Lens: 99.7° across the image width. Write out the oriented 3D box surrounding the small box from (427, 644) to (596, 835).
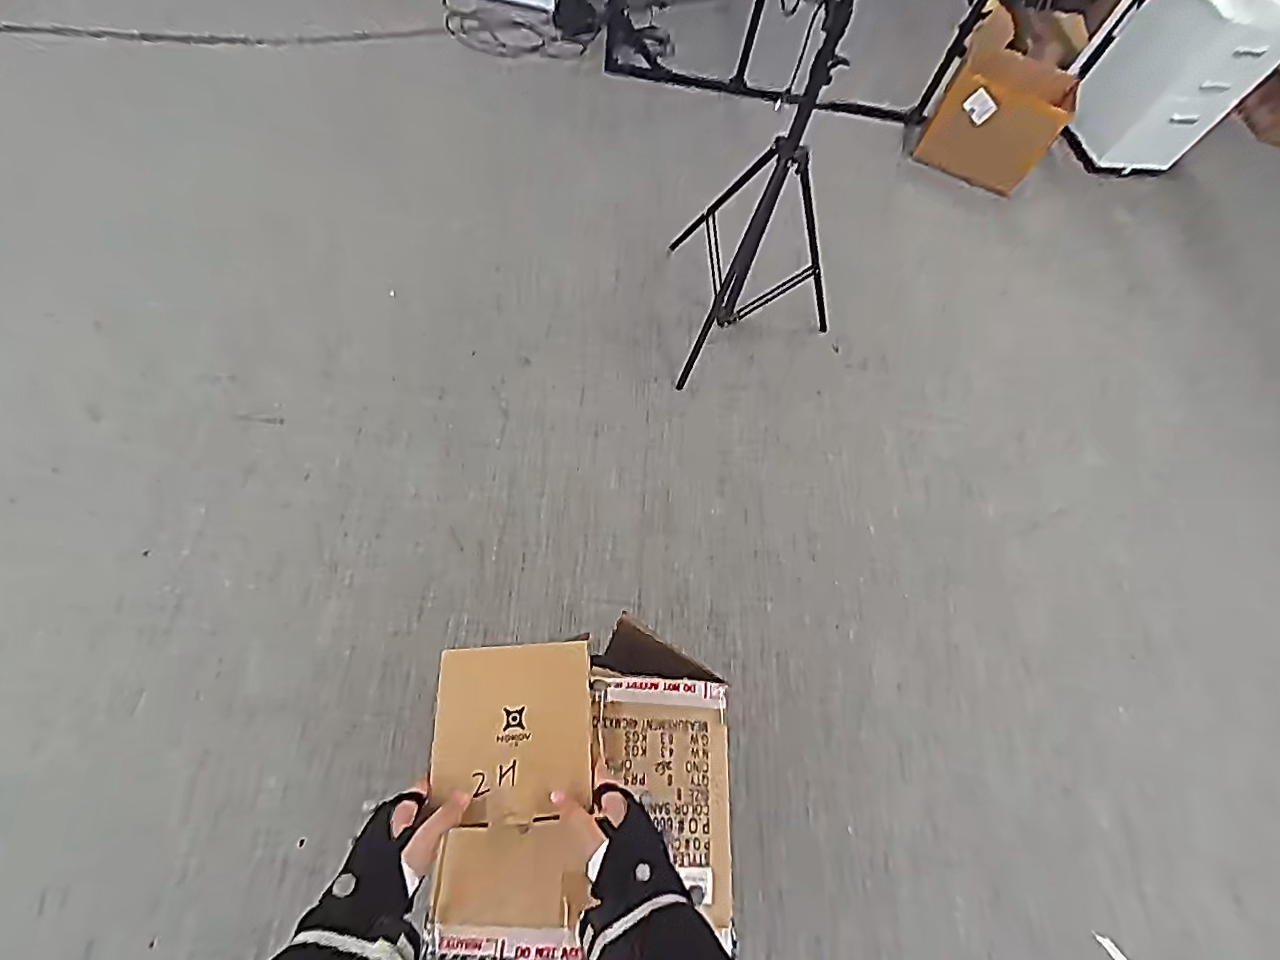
[{"bbox_3d":[-0.137,0.305,0.638,0.168,0.176,0.179,-2,61,-5],"label":"small box"}]
